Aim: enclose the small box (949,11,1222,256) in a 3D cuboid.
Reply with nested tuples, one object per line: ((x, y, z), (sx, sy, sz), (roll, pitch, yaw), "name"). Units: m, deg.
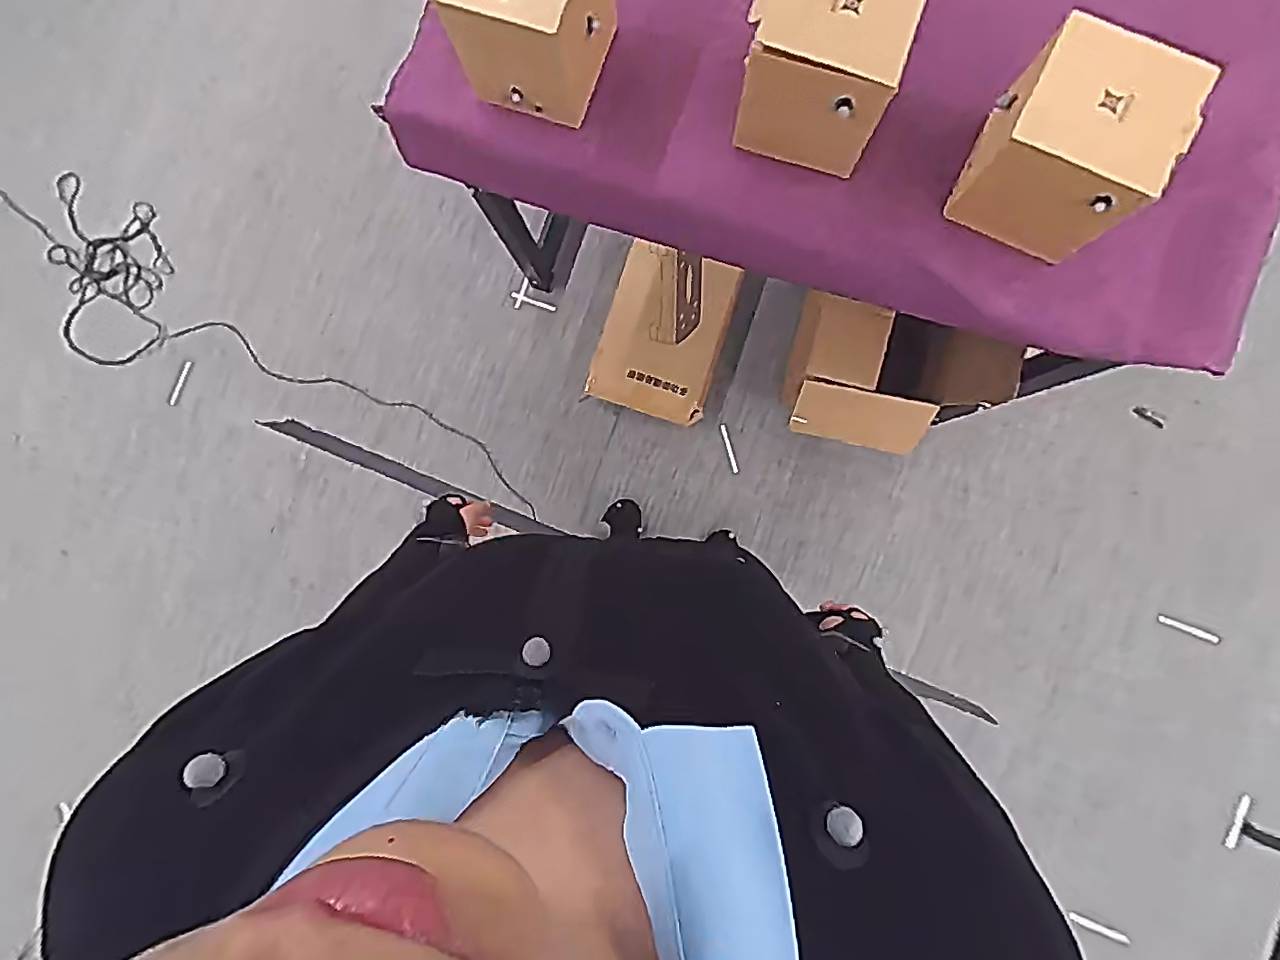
((0.533, -0.414, 0.678), (0.179, 0.176, 0.168), (26, 89, 4), "small box")

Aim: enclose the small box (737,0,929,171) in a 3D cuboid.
((0.241, -0.540, 0.700), (0.179, 0.176, 0.168), (19, 86, 4), "small box")
